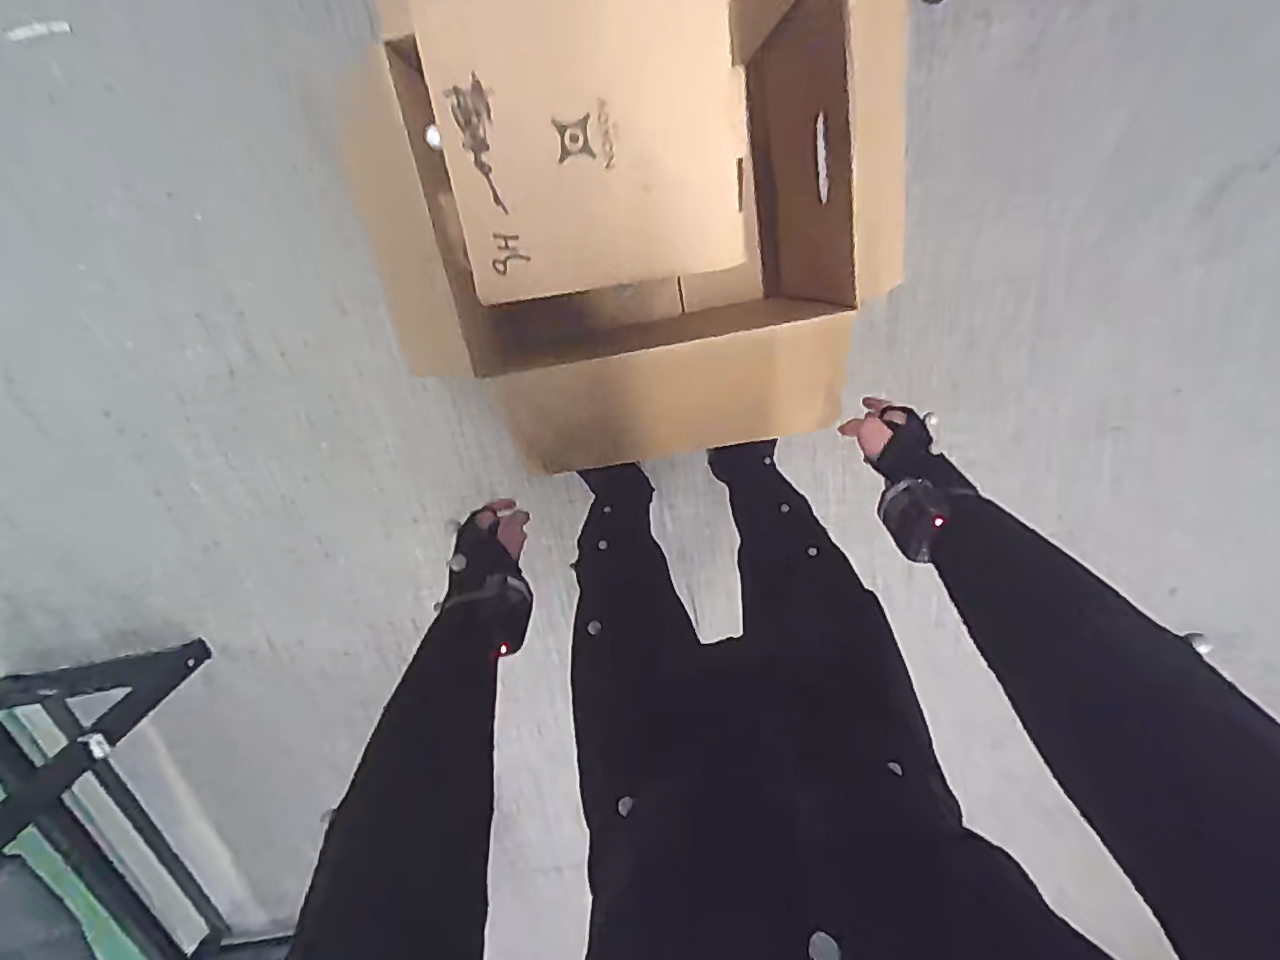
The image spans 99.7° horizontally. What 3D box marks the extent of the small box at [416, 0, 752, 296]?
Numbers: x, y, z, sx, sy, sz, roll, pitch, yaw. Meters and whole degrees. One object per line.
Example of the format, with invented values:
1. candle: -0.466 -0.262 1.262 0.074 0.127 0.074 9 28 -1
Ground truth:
1. small box: -0.026 -0.233 0.387 0.179 0.176 0.168 -7 112 3
